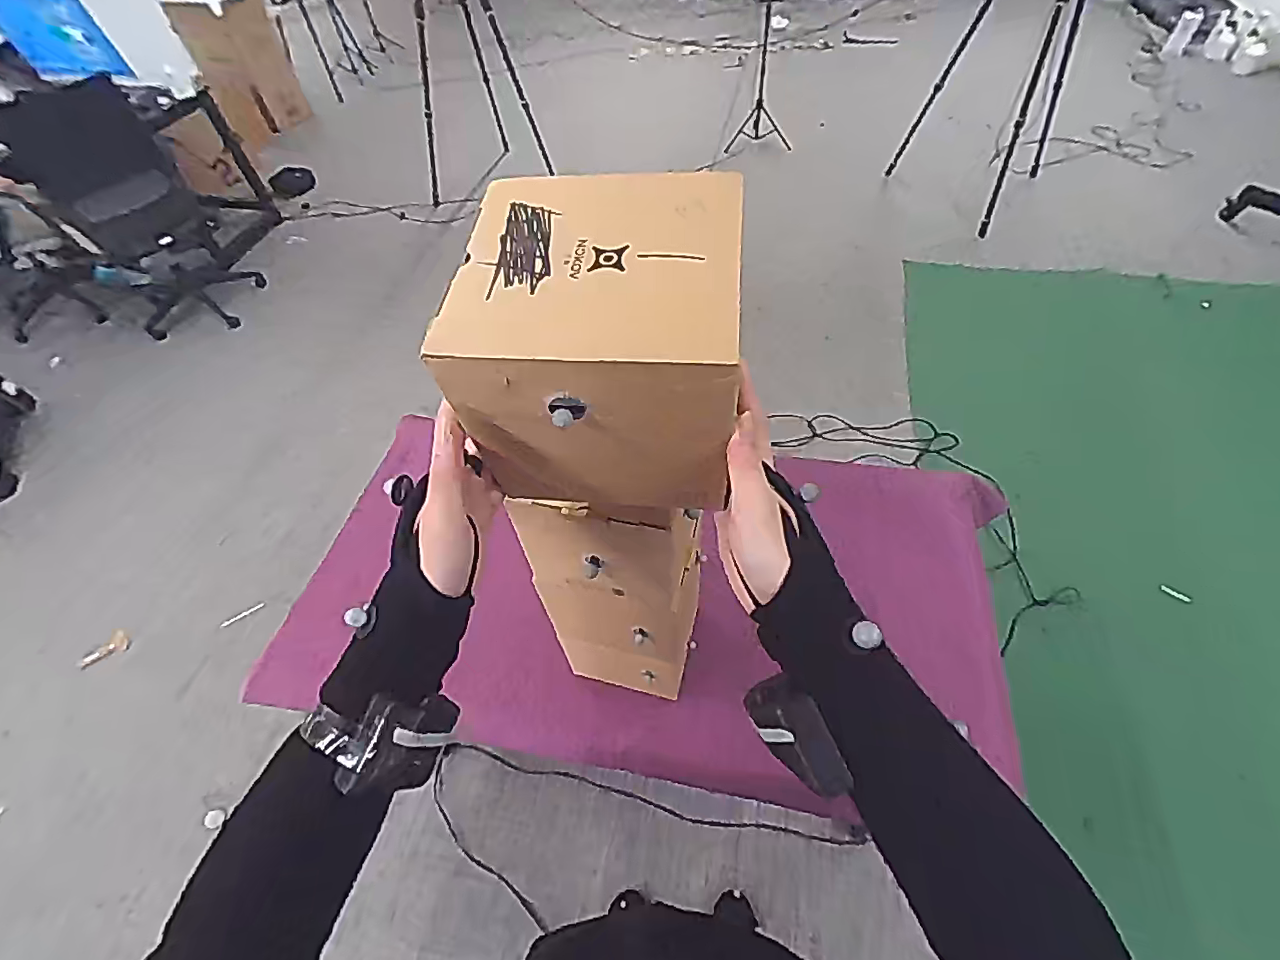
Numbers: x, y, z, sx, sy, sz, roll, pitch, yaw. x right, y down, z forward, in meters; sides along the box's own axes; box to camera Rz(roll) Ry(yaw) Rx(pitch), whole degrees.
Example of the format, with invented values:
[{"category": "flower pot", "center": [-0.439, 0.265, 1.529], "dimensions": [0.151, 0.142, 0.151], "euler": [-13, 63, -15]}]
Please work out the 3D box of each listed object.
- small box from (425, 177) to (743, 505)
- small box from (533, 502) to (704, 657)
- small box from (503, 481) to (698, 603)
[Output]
[{"category": "small box", "center": [-0.019, -0.092, 0.397], "dimensions": [0.179, 0.176, 0.168], "euler": [3, 61, 8]}, {"category": "small box", "center": [-0.018, 0.121, 0.728], "dimensions": [0.179, 0.176, 0.168], "euler": [10, 53, 12]}, {"category": "small box", "center": [-0.025, 0.015, 0.604], "dimensions": [0.168, 0.176, 0.179], "euler": [11, 54, 12]}]
